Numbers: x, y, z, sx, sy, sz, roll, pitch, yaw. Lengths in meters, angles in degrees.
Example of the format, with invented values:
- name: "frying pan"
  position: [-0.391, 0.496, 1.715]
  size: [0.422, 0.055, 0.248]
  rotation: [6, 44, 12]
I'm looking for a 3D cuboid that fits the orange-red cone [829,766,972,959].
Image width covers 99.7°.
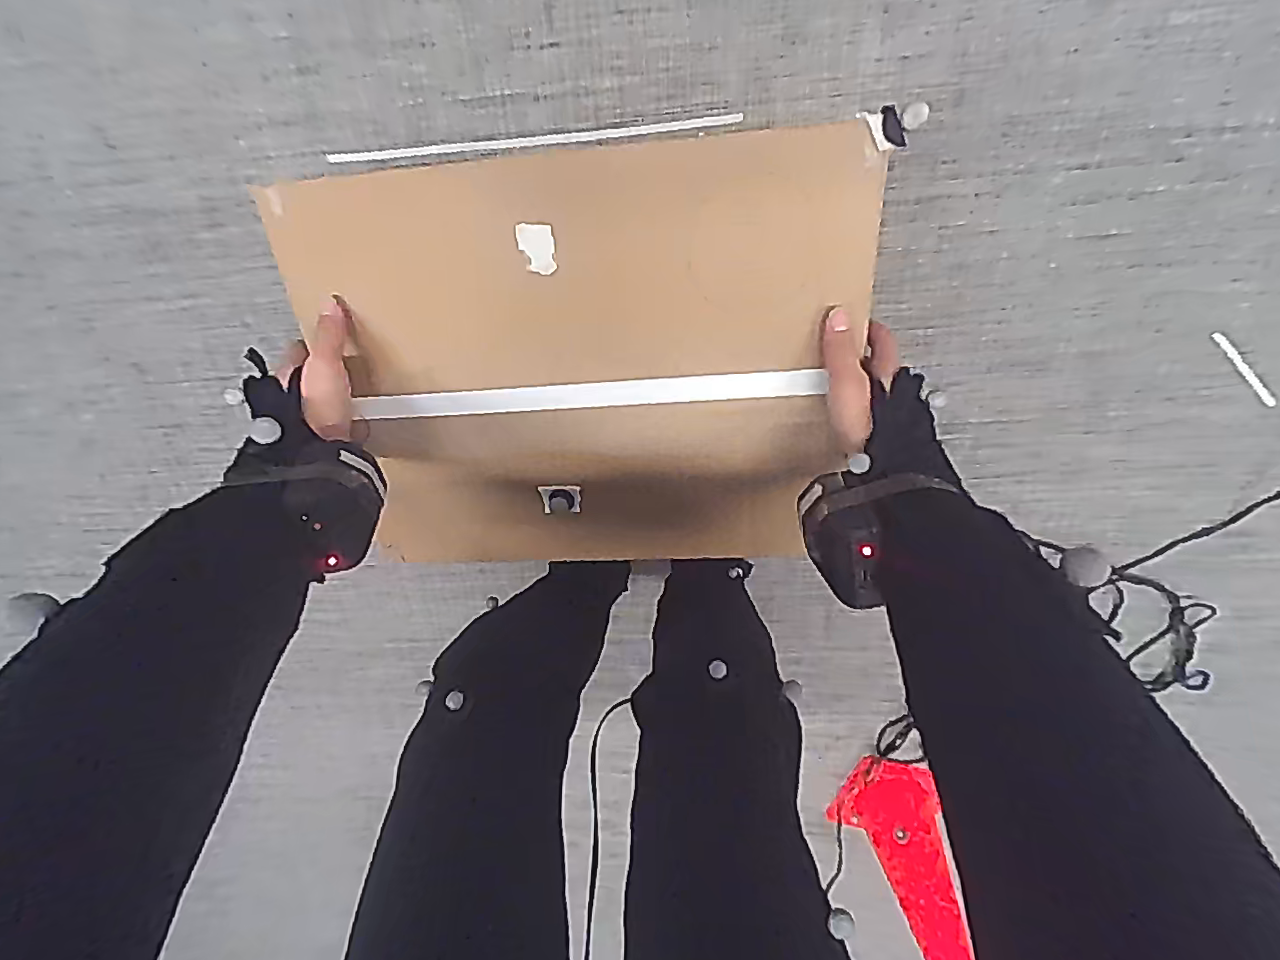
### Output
- name: "orange-red cone"
  position: [0.472, 0.690, 0.867]
  size: [0.199, 0.360, 0.198]
  rotation: [15, 115, -4]
